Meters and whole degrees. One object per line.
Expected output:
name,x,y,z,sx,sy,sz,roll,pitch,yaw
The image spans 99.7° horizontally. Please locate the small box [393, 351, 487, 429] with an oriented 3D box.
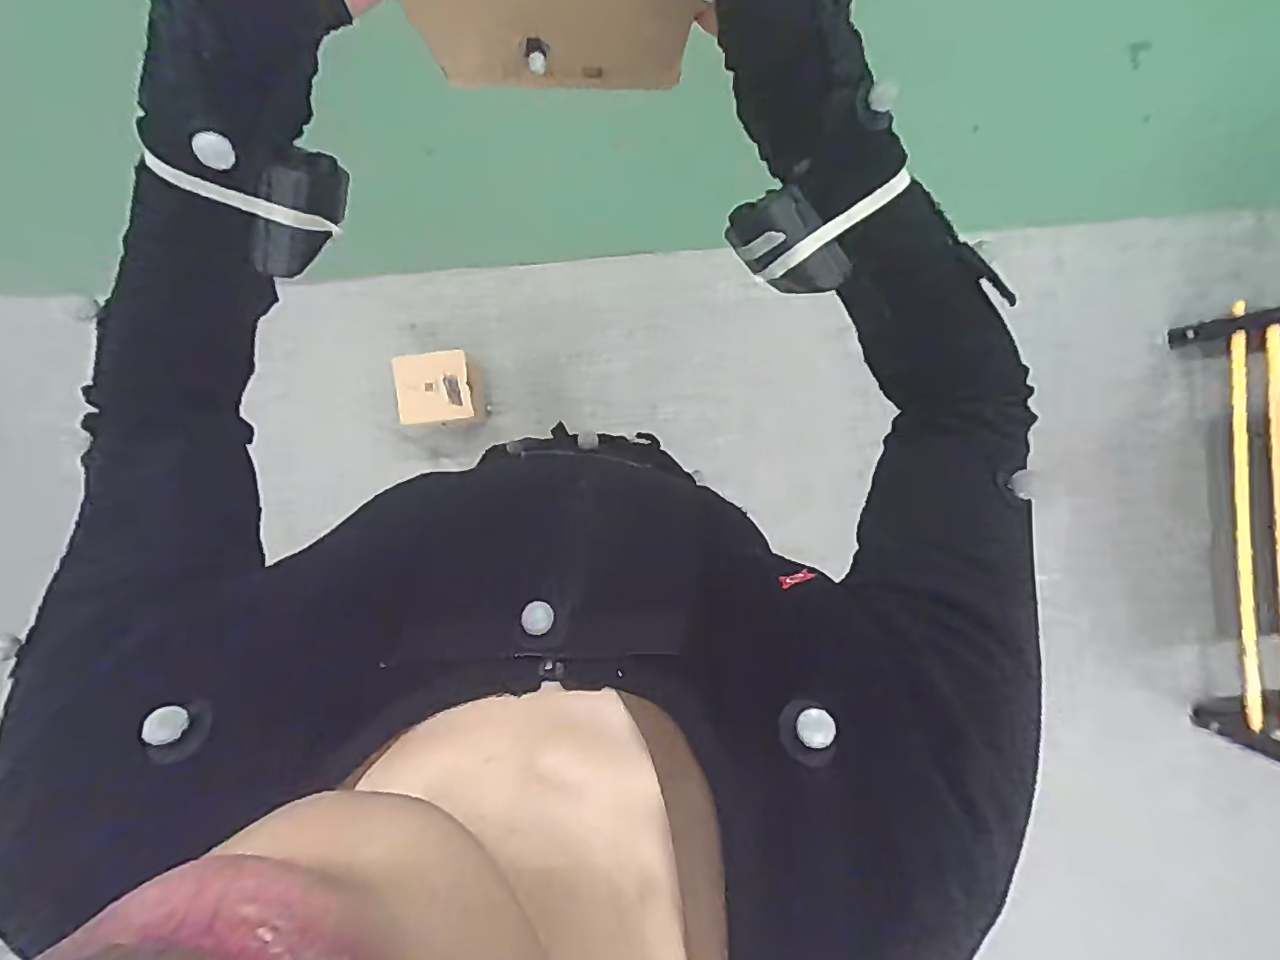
small box,-0.493,-0.222,1.362,0.179,0.176,0.168,-7,92,-2
